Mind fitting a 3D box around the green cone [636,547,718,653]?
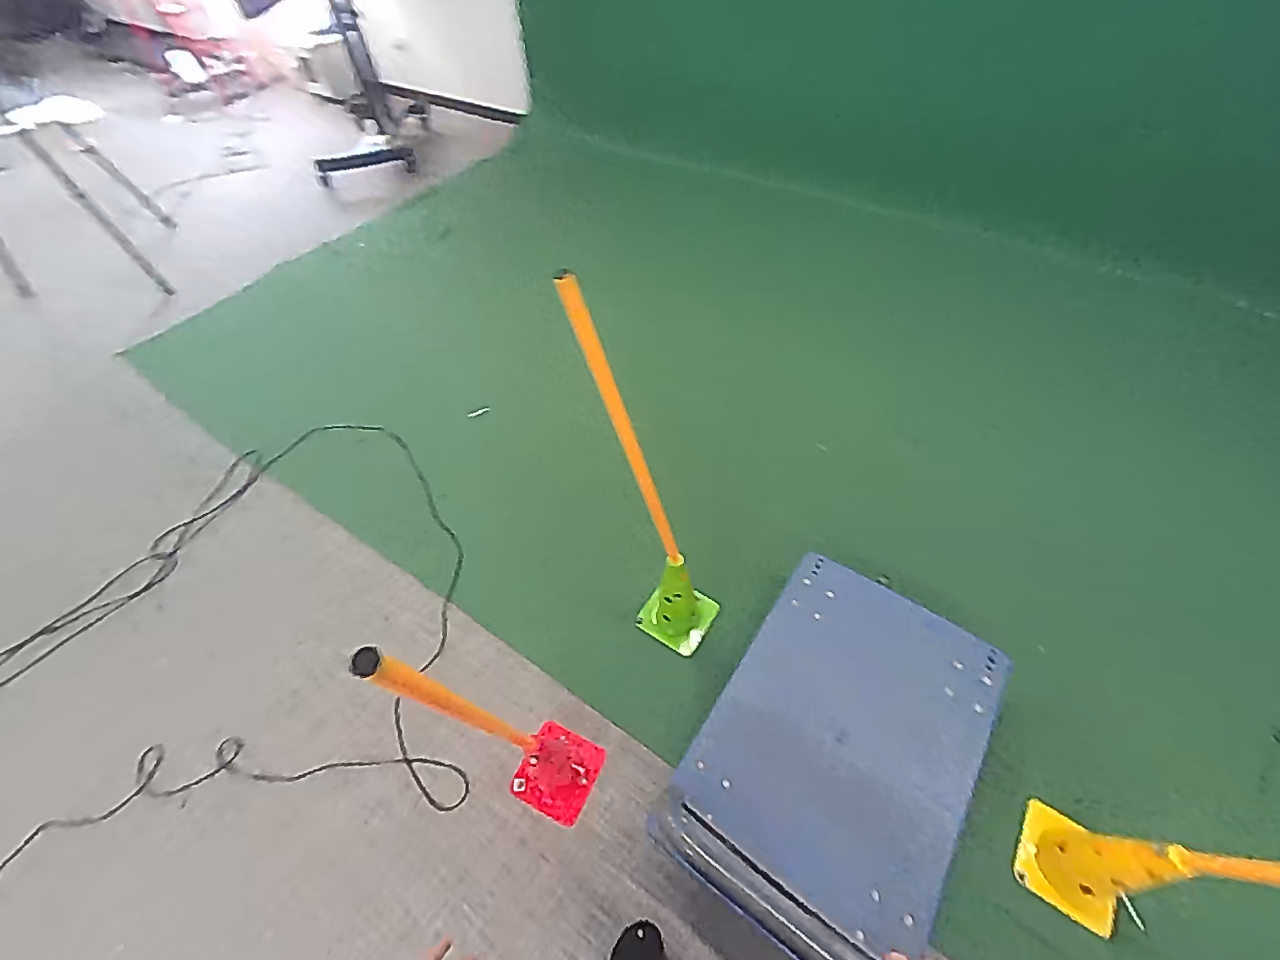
[{"bbox_3d":[0.108,0.305,1.529,0.200,0.368,0.202,27,58,22],"label":"green cone"}]
